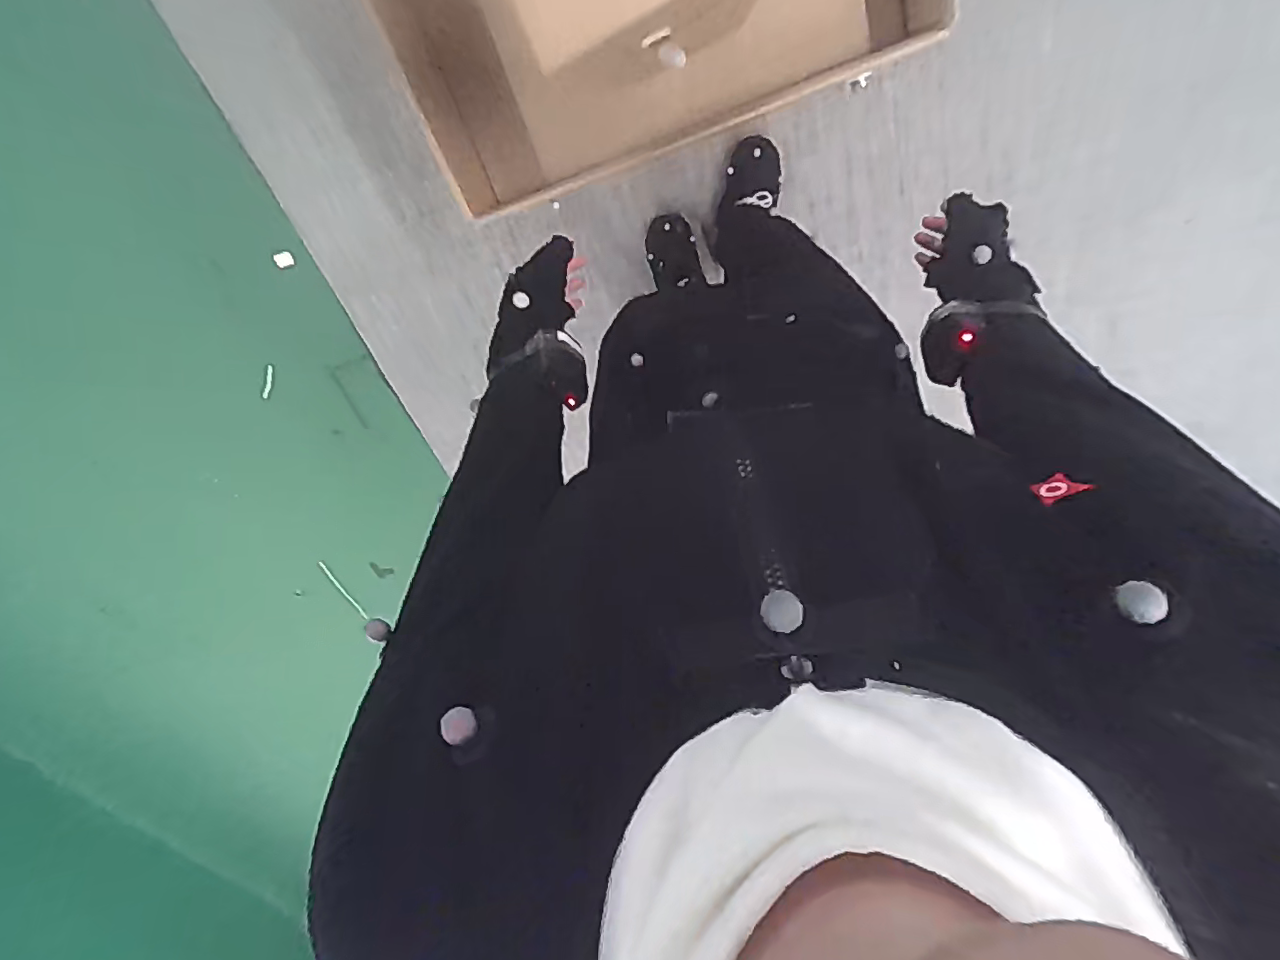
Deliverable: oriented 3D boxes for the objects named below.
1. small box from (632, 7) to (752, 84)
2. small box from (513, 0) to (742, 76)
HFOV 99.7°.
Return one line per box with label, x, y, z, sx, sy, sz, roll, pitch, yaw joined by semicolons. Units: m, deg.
small box;0.021;-0.590;0.618;0.168;0.176;0.179;-17;120;19
small box;-0.014;-0.402;0.354;0.168;0.176;0.179;-16;121;18
